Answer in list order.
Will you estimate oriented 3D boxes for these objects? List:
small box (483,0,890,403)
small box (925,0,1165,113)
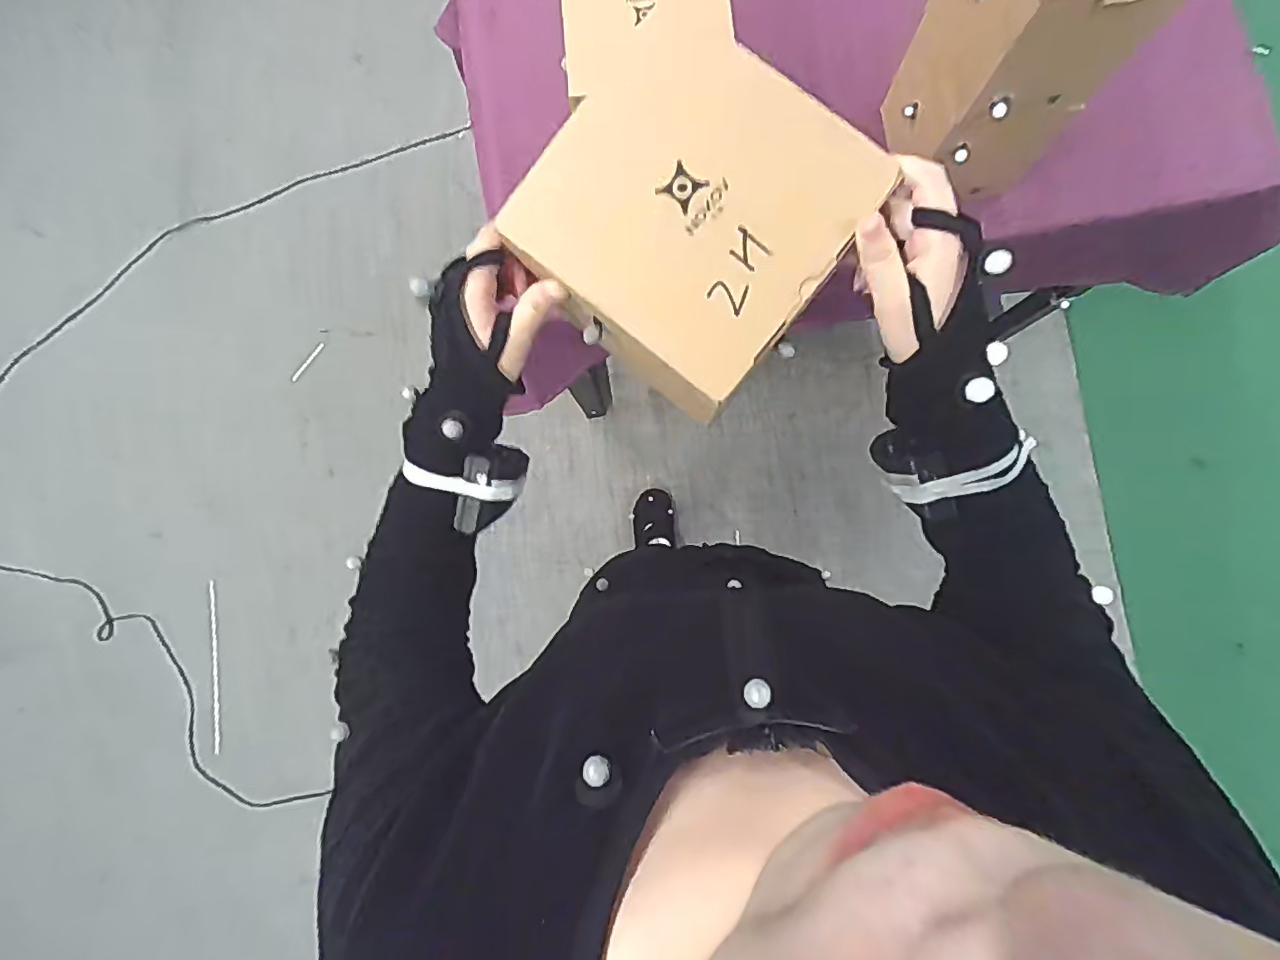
[{"bbox_3d":[0.029,-0.172,0.388,0.179,0.176,0.168,40,94,3],"label":"small box"},{"bbox_3d":[0.448,-0.544,0.595,0.168,0.176,0.179,-10,81,2],"label":"small box"}]
